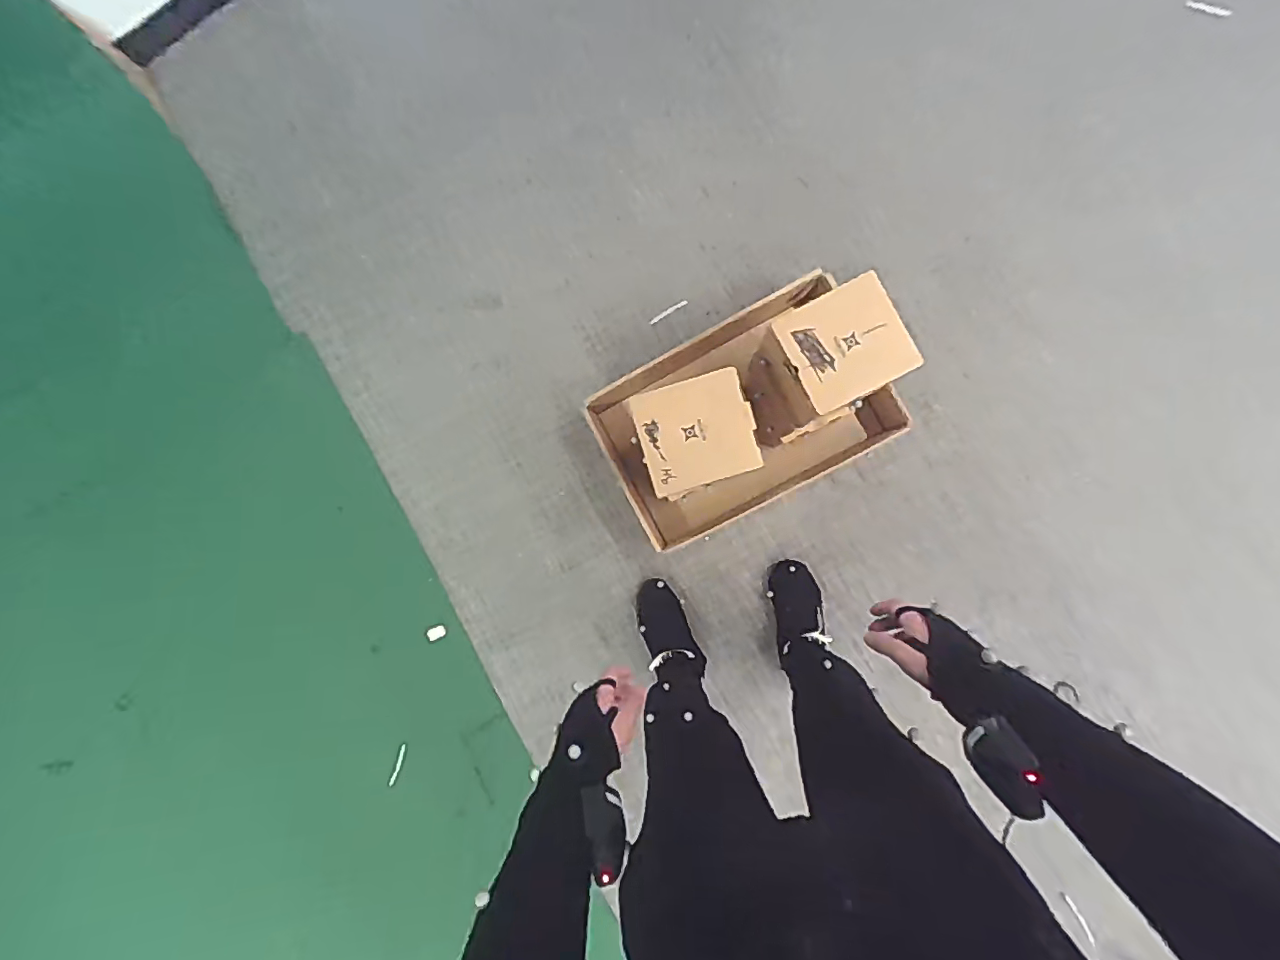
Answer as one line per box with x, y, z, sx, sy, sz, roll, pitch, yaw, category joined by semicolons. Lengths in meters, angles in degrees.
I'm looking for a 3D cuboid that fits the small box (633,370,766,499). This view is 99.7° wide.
0.096;-0.070;0.917;0.179;0.176;0.168;-16;87;4;small box

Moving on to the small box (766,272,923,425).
0.322;-0.204;0.897;0.179;0.176;0.168;-27;87;5;small box
